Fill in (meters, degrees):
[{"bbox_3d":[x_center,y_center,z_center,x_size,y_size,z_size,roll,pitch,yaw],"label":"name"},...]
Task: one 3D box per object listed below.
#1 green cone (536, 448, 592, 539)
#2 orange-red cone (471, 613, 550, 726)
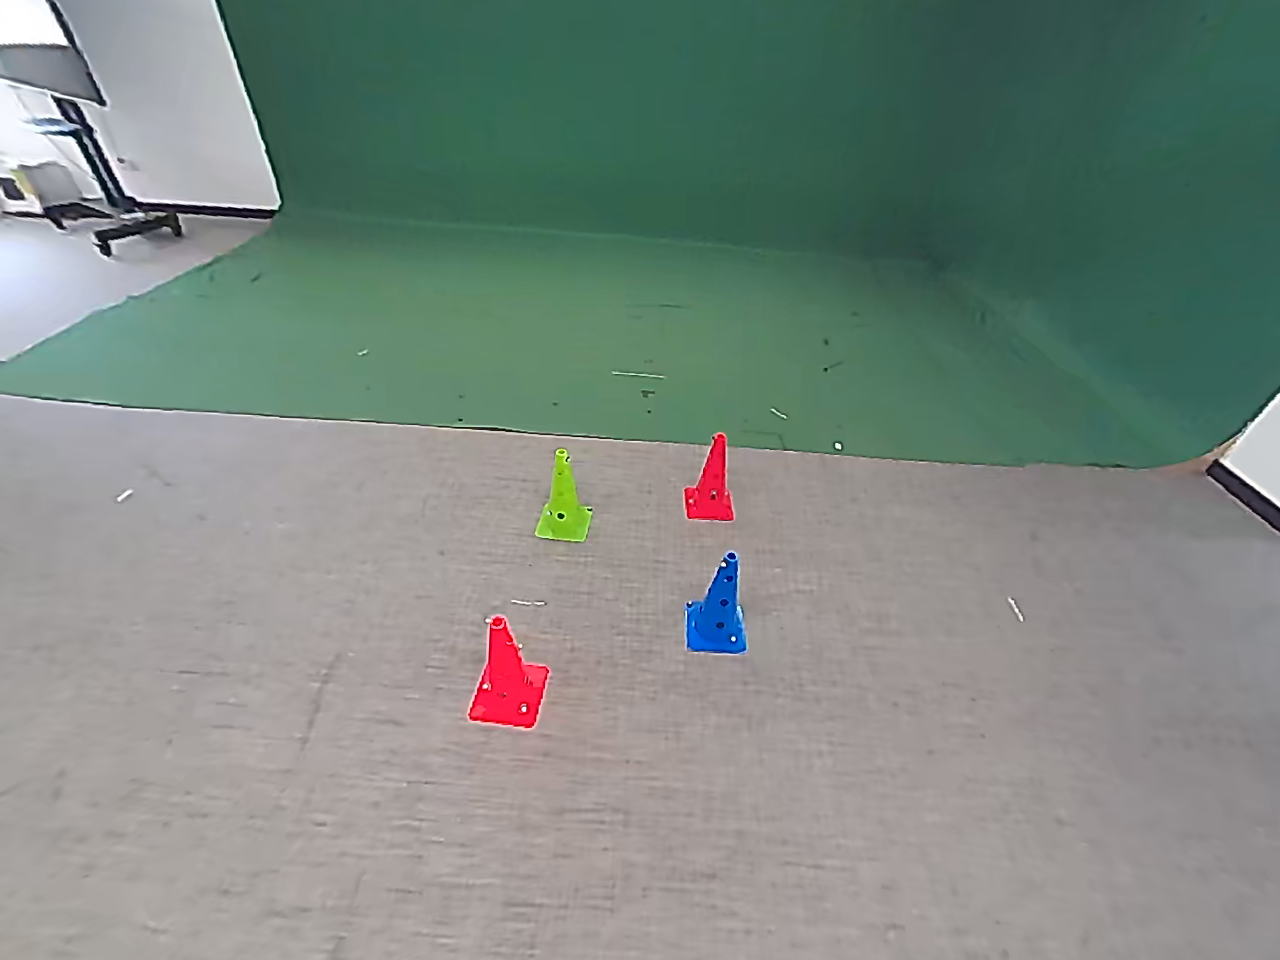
[{"bbox_3d":[-0.295,0.027,2.061,0.200,0.368,0.202,5,41,2],"label":"green cone"},{"bbox_3d":[-0.371,0.493,1.502,0.198,0.360,0.199,8,38,3],"label":"orange-red cone"}]
